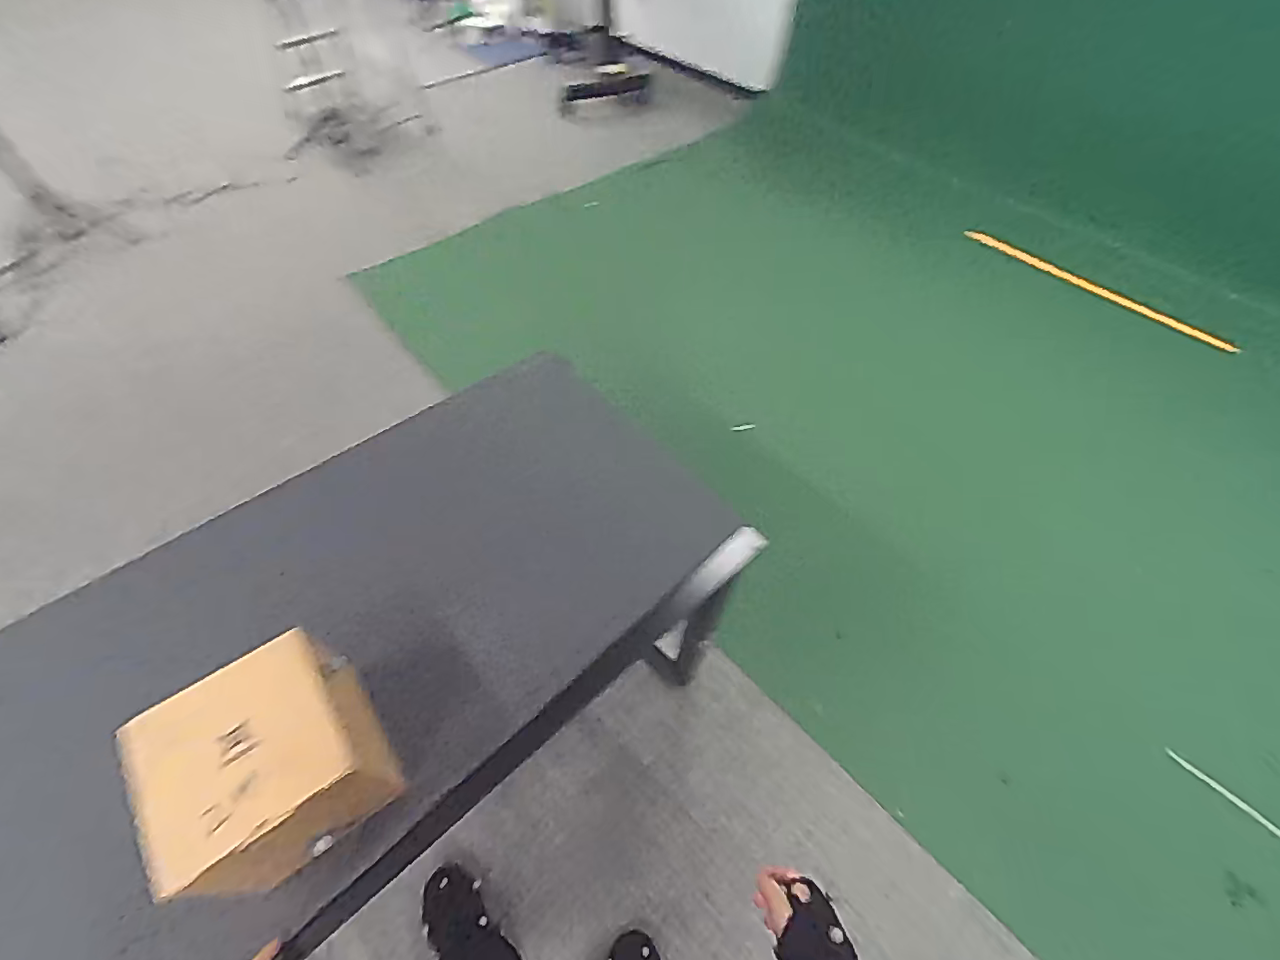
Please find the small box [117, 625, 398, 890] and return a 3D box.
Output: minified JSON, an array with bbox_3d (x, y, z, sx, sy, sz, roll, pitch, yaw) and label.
[{"bbox_3d":[-0.391,0.295,0.577,0.168,0.176,0.179,-32,62,-23],"label":"small box"}]
